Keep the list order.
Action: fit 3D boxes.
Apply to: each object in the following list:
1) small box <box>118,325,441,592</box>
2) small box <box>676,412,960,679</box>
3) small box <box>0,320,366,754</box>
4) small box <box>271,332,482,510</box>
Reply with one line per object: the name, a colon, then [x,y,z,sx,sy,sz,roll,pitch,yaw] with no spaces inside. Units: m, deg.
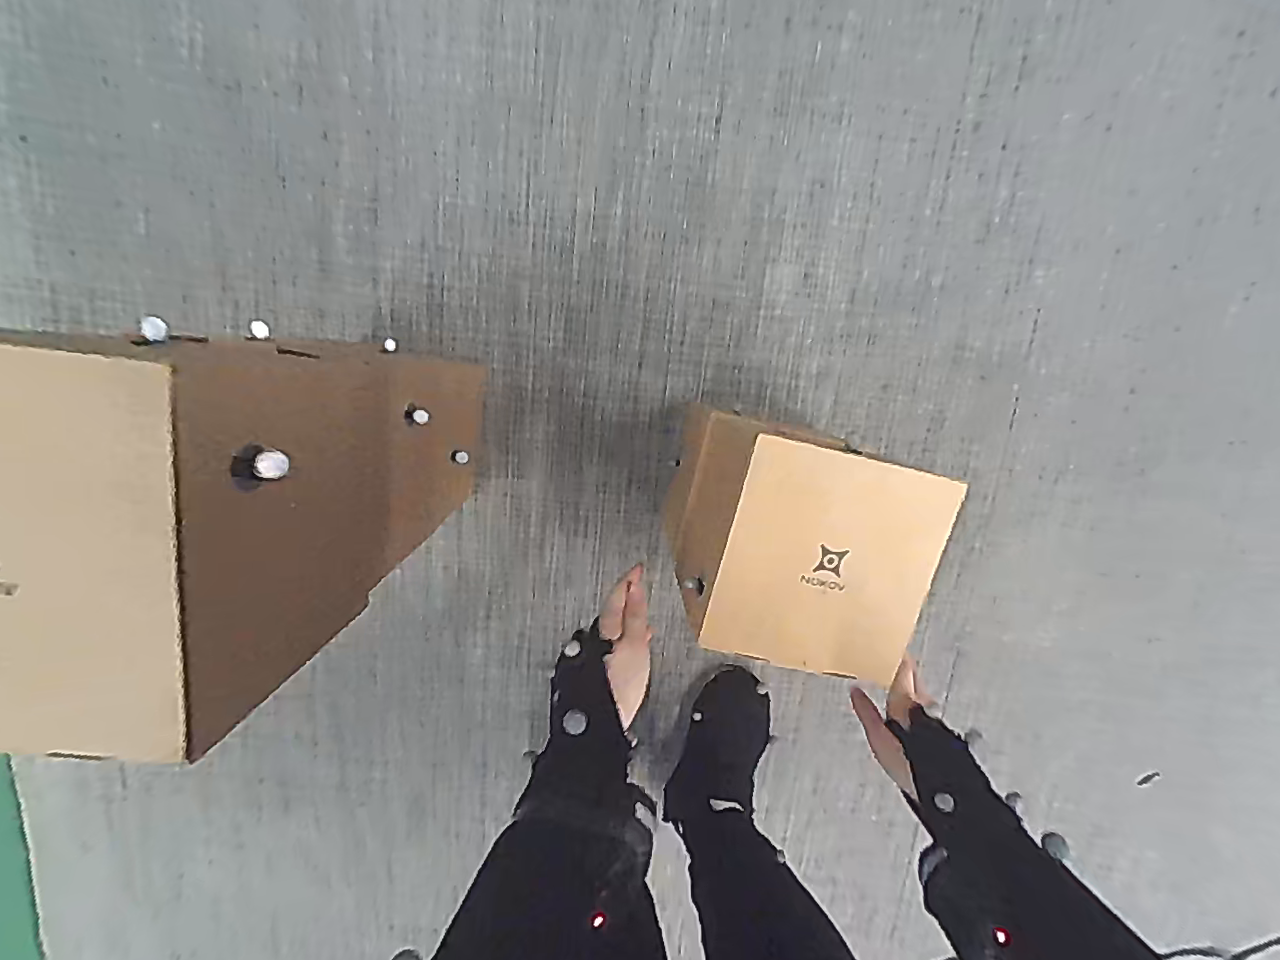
small box: [-0.277,-0.026,0.454,0.168,0.176,0.179,6,102,-2]
small box: [0.135,0.043,0.484,0.168,0.176,0.179,13,102,-5]
small box: [-0.269,0.011,0.293,0.168,0.176,0.179,6,101,-2]
small box: [-0.286,-0.062,0.612,0.168,0.176,0.179,9,102,-4]
